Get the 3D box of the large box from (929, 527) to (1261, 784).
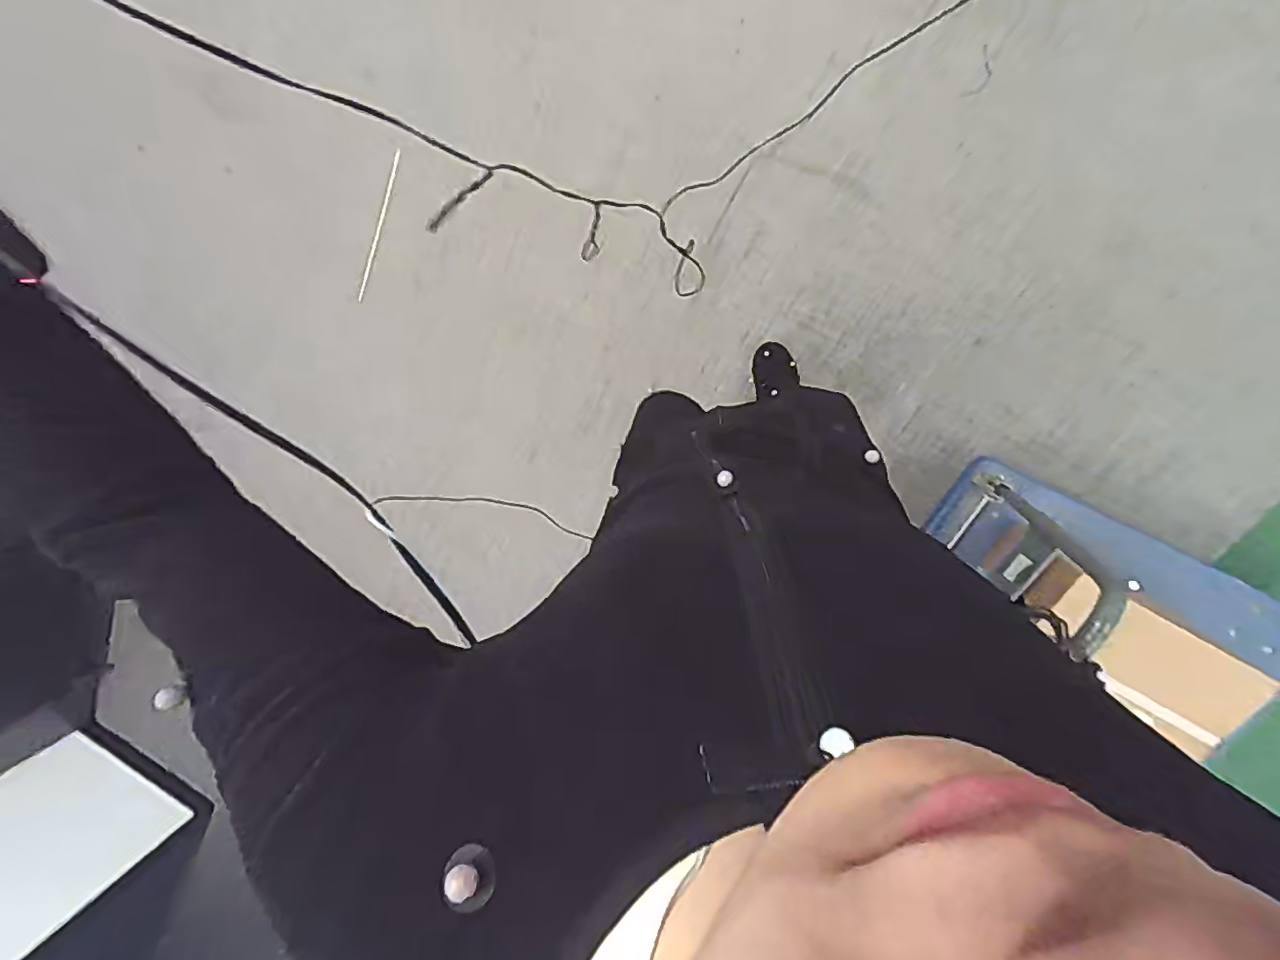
[{"bbox_3d":[0.955,0.365,1.213,0.408,0.320,0.320,30,110,5],"label":"large box"}]
